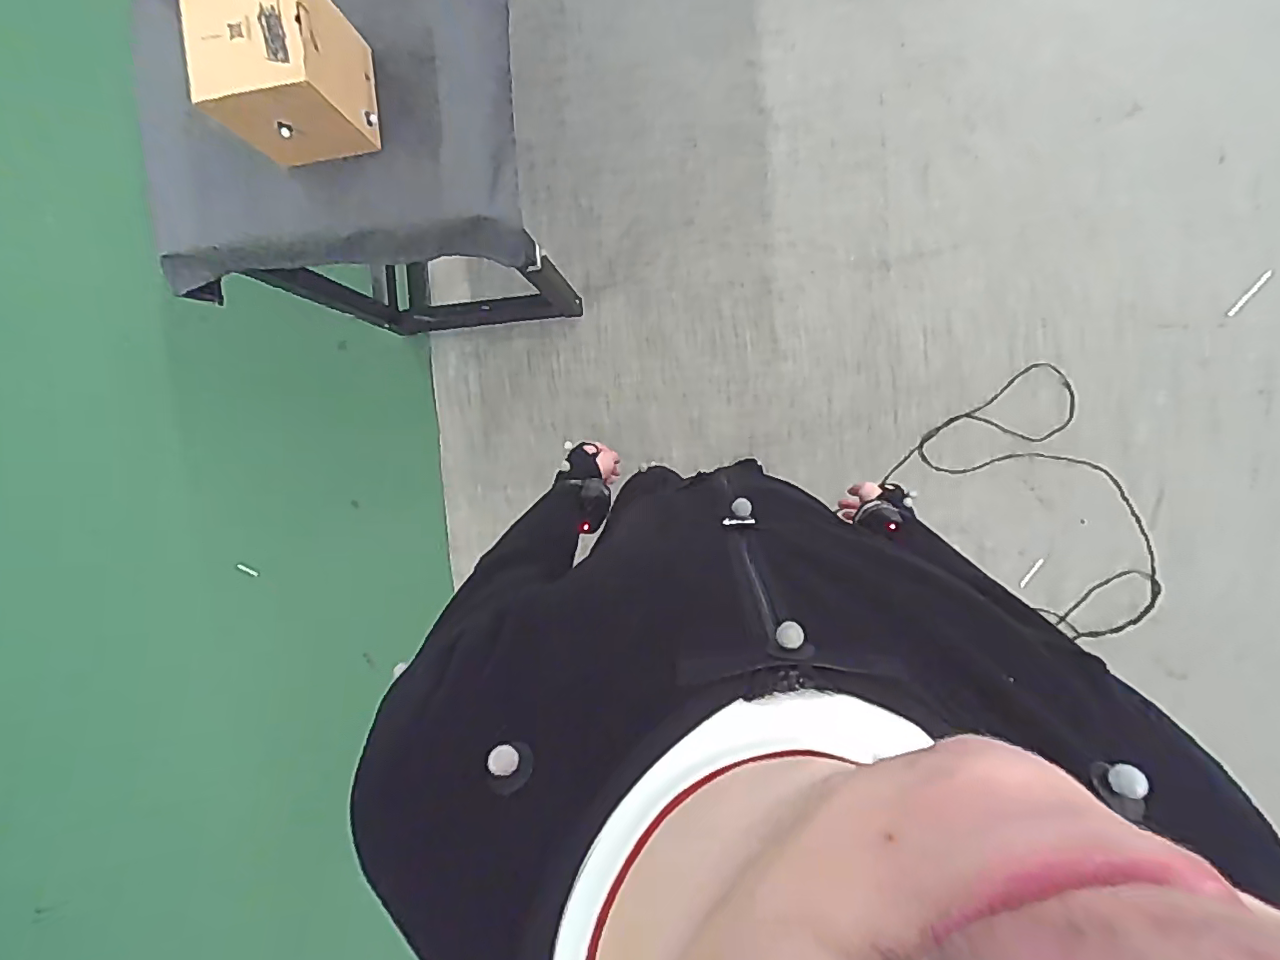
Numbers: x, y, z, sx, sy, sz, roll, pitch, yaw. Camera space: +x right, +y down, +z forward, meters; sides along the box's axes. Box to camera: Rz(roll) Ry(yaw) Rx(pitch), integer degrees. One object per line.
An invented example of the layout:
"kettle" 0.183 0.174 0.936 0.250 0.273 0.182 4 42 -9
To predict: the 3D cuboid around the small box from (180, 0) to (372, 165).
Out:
"small box" -0.522 -0.601 0.802 0.179 0.176 0.168 -5 91 7
